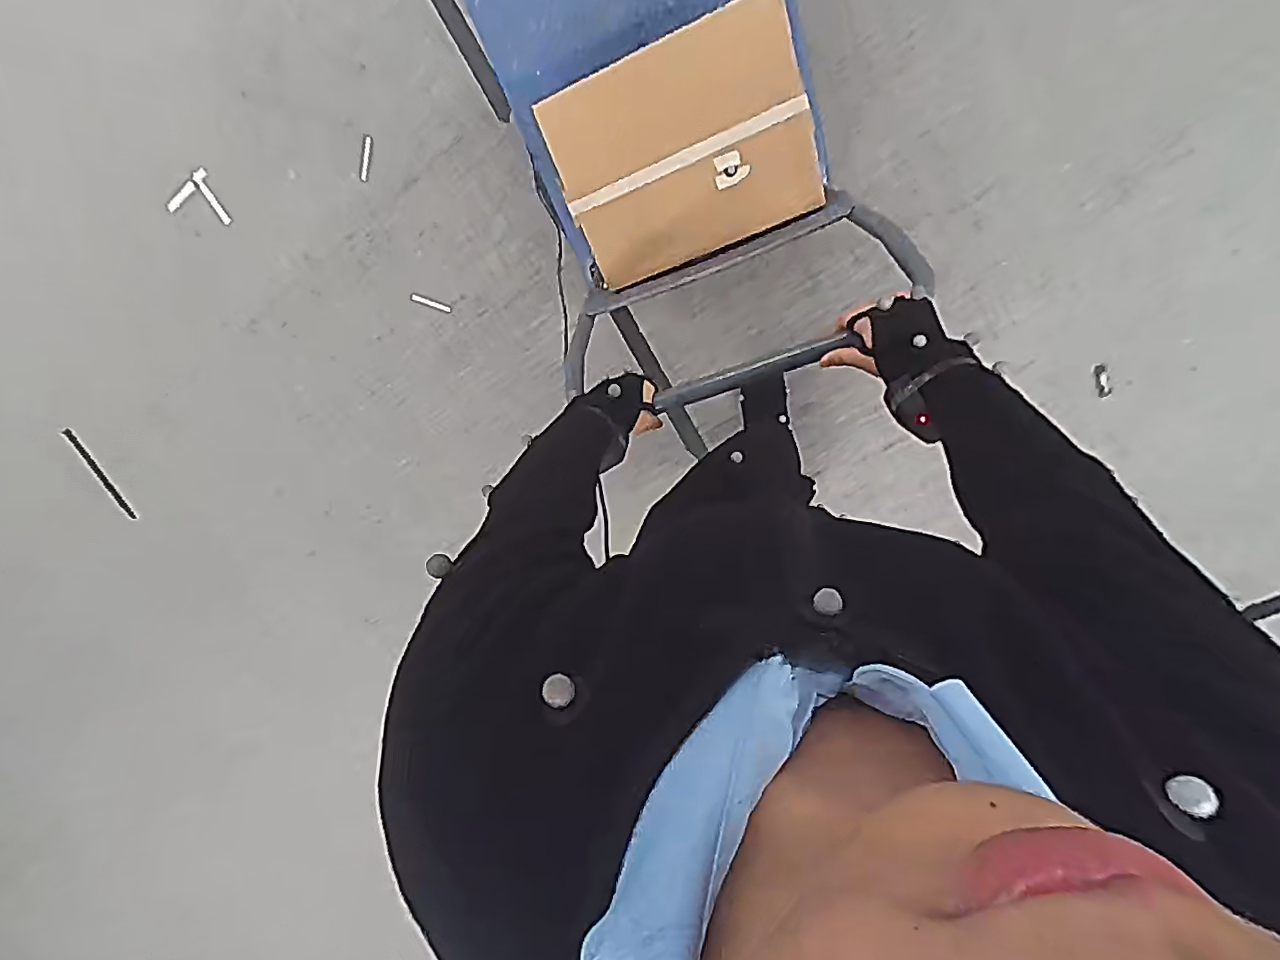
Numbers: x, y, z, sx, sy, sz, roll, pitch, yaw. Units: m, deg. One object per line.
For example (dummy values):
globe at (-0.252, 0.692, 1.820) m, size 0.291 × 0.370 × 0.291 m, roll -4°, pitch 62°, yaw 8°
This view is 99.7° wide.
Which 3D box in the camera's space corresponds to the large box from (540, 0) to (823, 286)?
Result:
large box at (0.079, -0.623, 1.026) m, size 0.408 × 0.320 × 0.320 m, roll -18°, pitch 120°, yaw 14°
